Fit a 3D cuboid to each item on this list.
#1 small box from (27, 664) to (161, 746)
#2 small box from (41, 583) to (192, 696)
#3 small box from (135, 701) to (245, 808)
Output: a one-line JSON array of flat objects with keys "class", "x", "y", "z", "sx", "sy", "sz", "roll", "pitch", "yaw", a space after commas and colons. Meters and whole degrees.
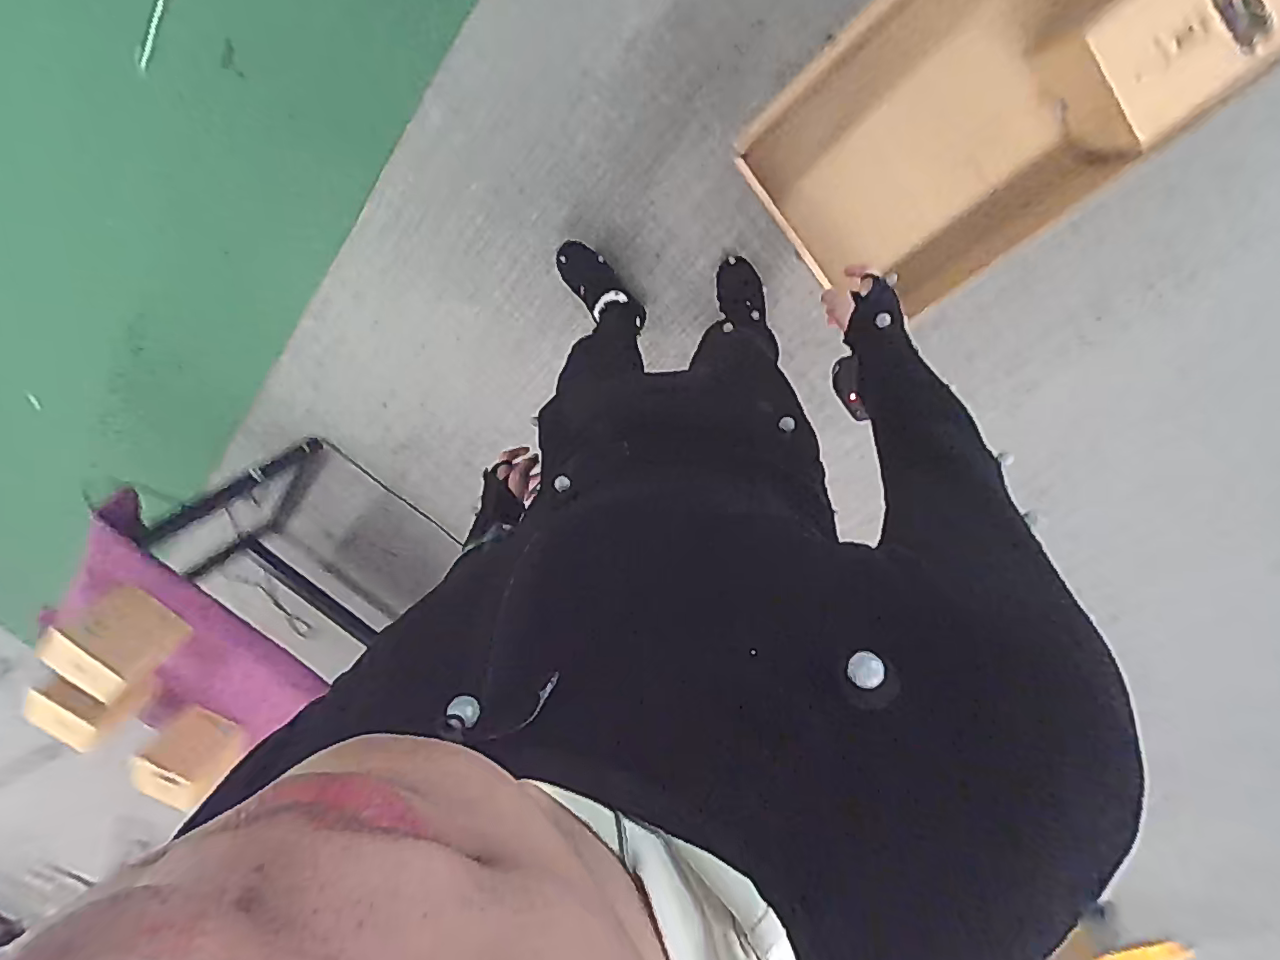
[{"class": "small box", "x": -1.439, "y": 0.556, "z": 1.432, "sx": 0.179, "sy": 0.176, "sz": 0.168, "roll": 39, "pitch": 118, "yaw": -10}, {"class": "small box", "x": -1.231, "y": 0.368, "z": 1.281, "sx": 0.168, "sy": 0.176, "sz": 0.179, "roll": -35, "pitch": 106, "yaw": 28}, {"class": "small box", "x": -1.222, "y": 0.743, "z": 1.477, "sx": 0.168, "sy": 0.176, "sz": 0.179, "roll": 28, "pitch": 120, "yaw": -2}]
